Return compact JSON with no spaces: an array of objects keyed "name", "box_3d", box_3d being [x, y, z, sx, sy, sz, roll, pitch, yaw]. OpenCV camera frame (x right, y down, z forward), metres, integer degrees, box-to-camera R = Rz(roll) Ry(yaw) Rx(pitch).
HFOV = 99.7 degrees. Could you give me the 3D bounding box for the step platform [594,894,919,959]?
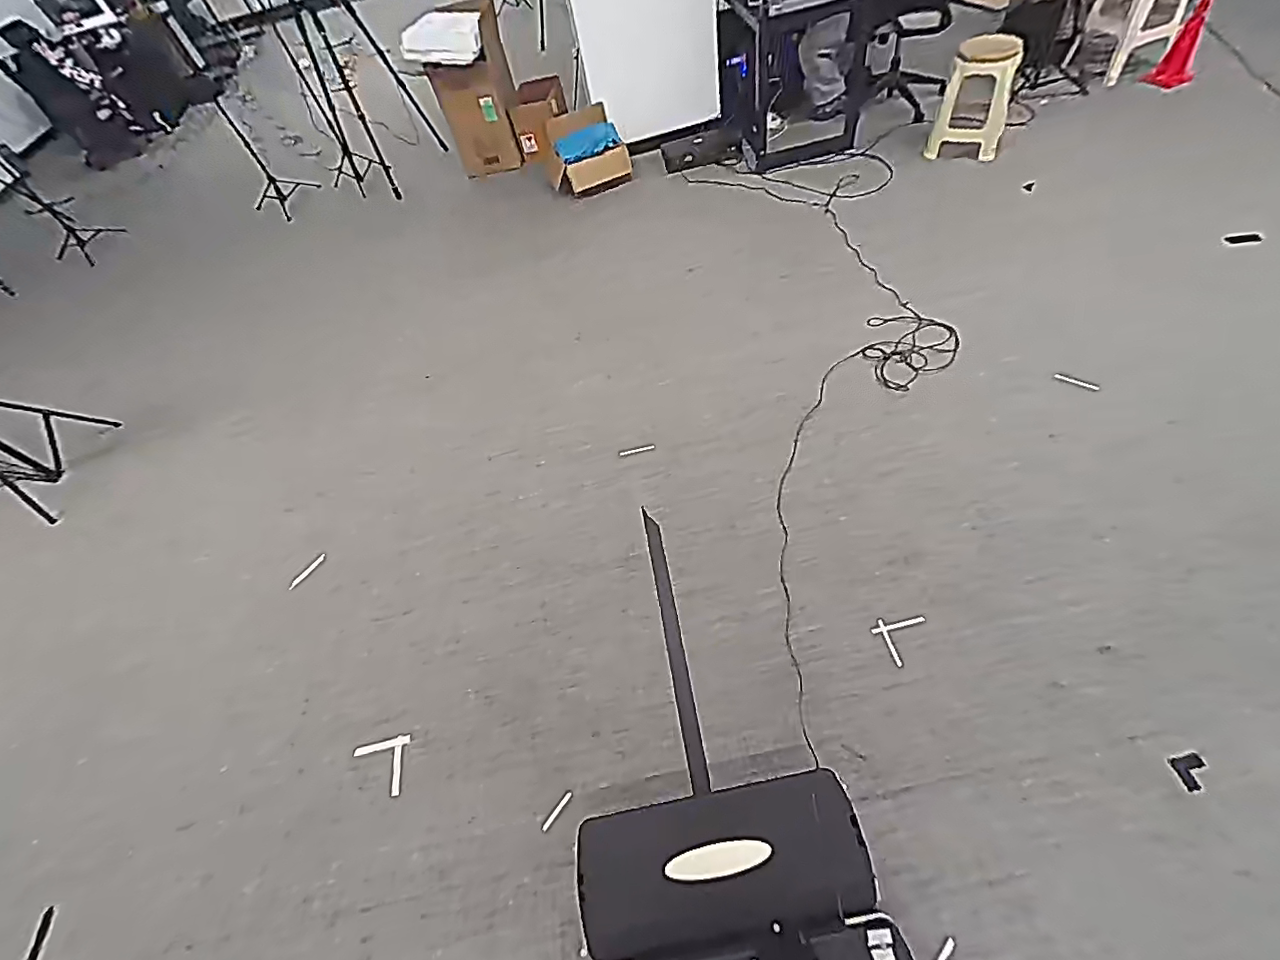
[{"name":"step platform","box_3d":[0.230,1.066,1.077,0.684,0.204,0.286,-15,52,3]}]
